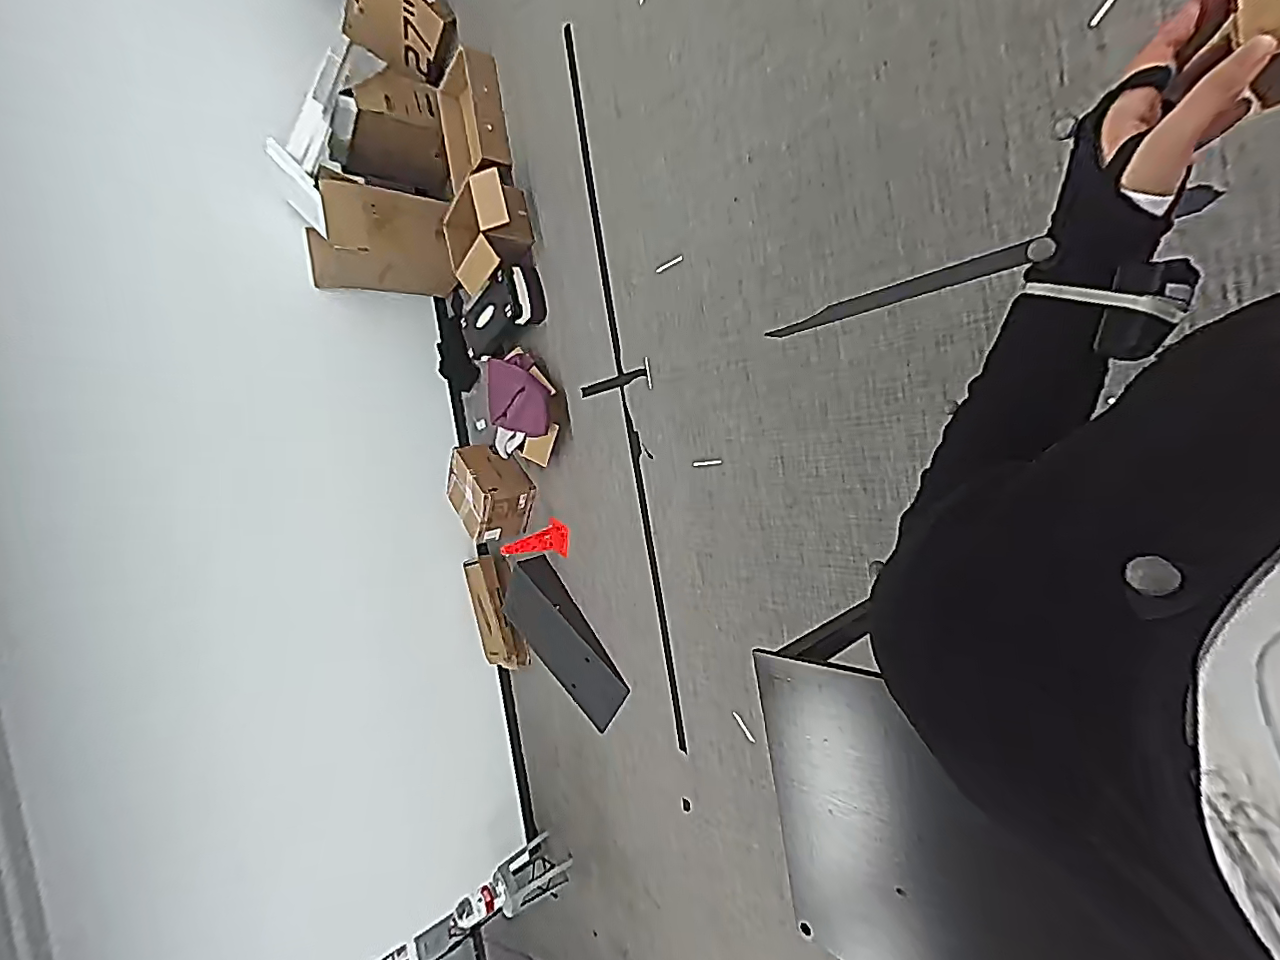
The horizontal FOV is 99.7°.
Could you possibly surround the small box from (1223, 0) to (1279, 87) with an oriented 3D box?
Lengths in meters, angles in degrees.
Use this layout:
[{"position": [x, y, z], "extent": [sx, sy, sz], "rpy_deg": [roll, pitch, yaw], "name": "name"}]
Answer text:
[{"position": [0.432, -0.342, 0.275], "extent": [0.179, 0.176, 0.168], "rpy_deg": [-4, 103, 53], "name": "small box"}]
